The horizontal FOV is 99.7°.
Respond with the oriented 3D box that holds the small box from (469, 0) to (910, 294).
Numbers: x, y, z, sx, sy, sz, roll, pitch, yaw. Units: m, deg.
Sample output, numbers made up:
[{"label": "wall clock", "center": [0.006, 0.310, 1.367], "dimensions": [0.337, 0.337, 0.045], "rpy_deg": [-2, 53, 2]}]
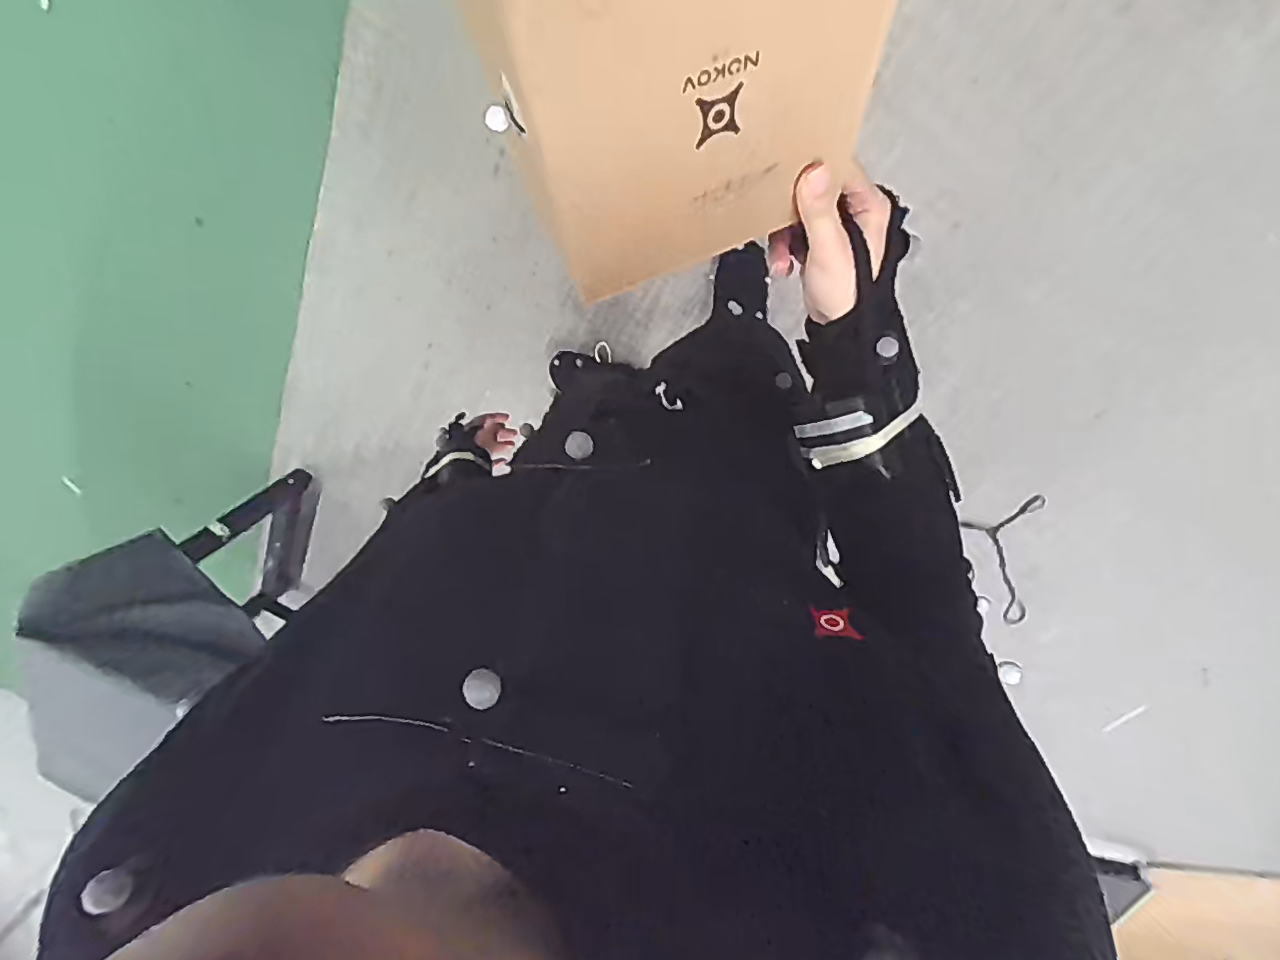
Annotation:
[{"label": "small box", "center": [0.009, -0.236, 0.264], "dimensions": [0.168, 0.176, 0.179], "rpy_deg": [-22, 158, -5]}]
